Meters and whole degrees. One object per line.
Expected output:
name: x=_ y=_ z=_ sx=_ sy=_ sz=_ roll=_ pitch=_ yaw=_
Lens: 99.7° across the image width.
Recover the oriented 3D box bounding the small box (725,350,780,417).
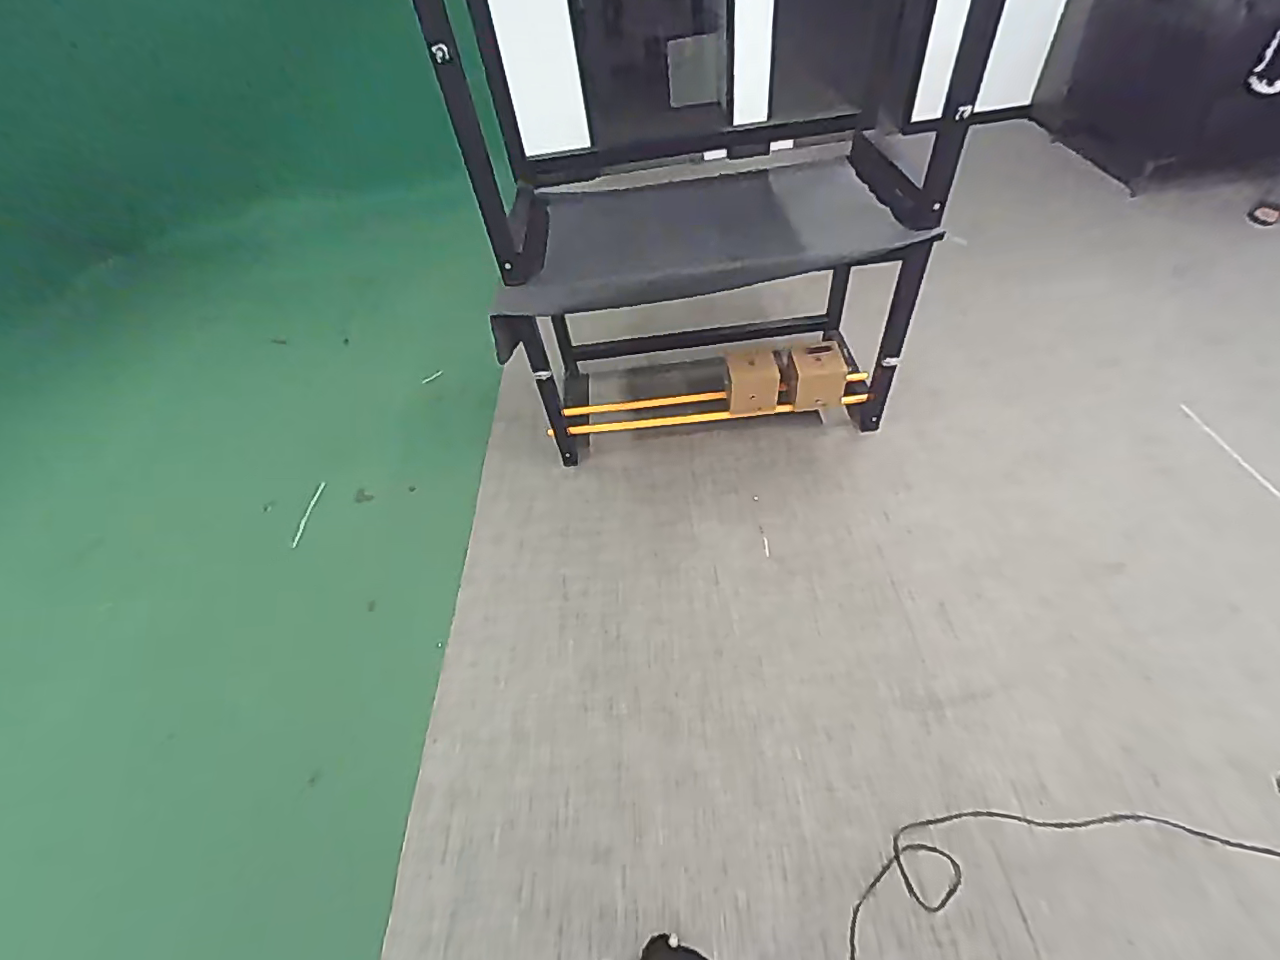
small box: x=0.405 y=-0.343 z=1.961 sx=0.168 sy=0.176 sz=0.179 roll=-6 pitch=49 yaw=3
